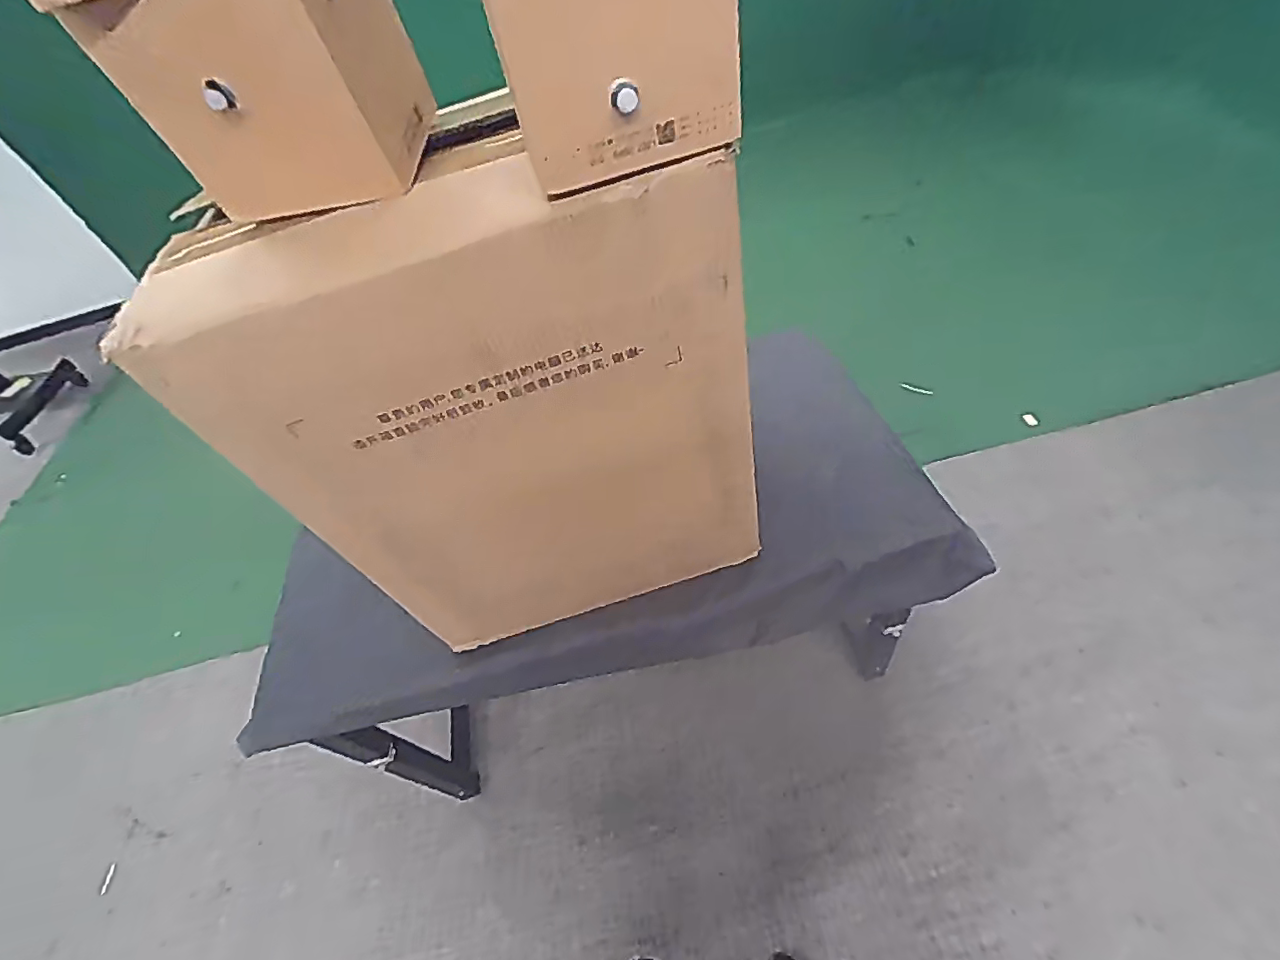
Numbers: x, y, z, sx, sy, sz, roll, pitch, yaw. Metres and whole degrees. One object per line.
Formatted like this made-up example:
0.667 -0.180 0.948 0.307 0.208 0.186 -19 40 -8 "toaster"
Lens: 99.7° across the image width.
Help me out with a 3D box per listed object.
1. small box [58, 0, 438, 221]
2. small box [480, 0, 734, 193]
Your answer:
-0.309 -0.354 0.473 0.179 0.176 0.168 -6 59 8 "small box"
-0.033 -0.355 0.420 0.168 0.176 0.179 -17 50 -1 "small box"
